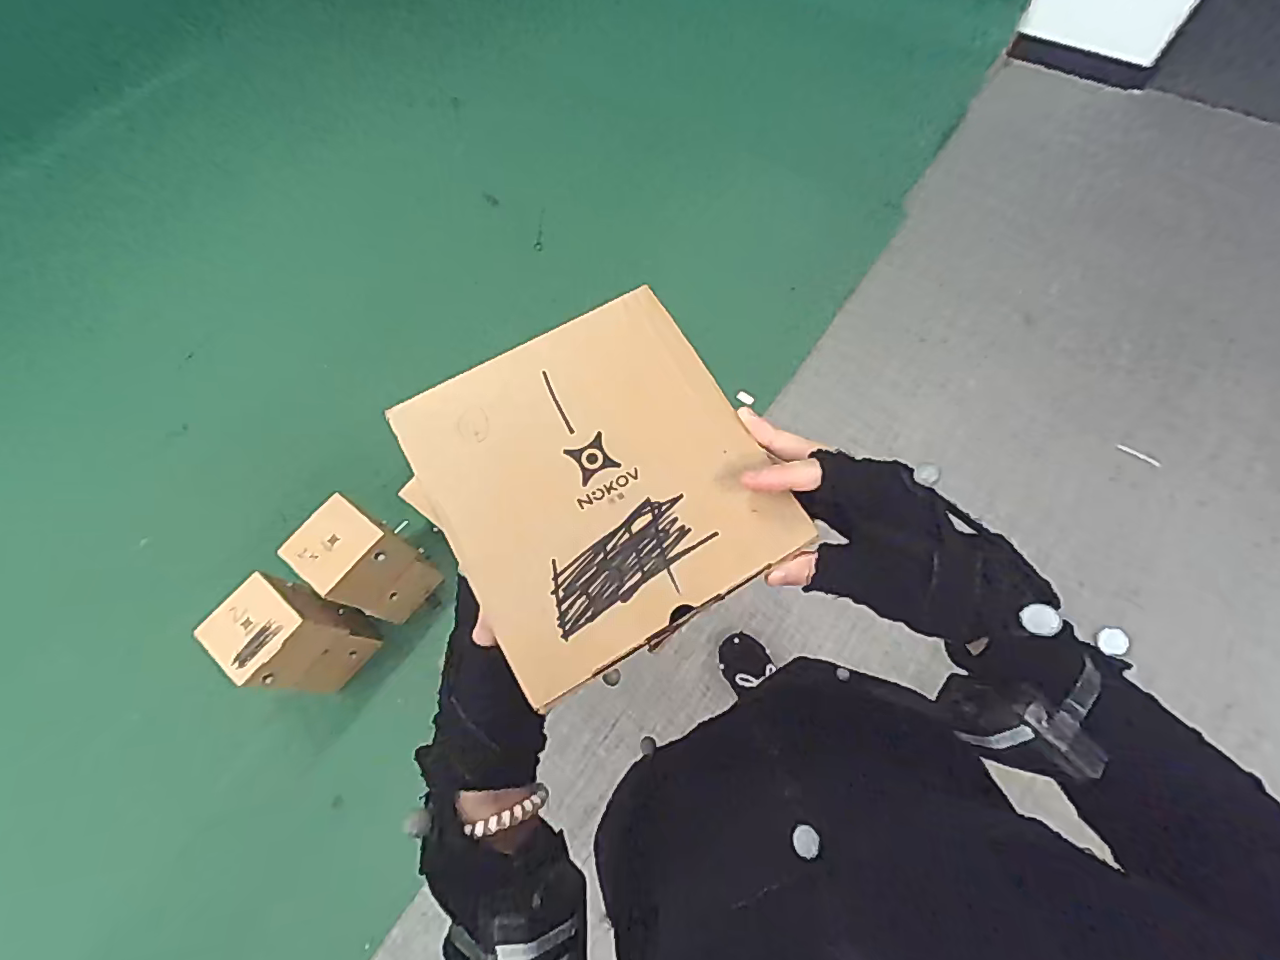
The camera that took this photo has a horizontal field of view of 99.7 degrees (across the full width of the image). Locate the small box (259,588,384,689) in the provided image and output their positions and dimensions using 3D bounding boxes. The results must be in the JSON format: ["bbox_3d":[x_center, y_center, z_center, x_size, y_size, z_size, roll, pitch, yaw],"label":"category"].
[{"bbox_3d":[-0.781,0.397,1.346,0.179,0.176,0.168,38,76,18],"label":"small box"}]
